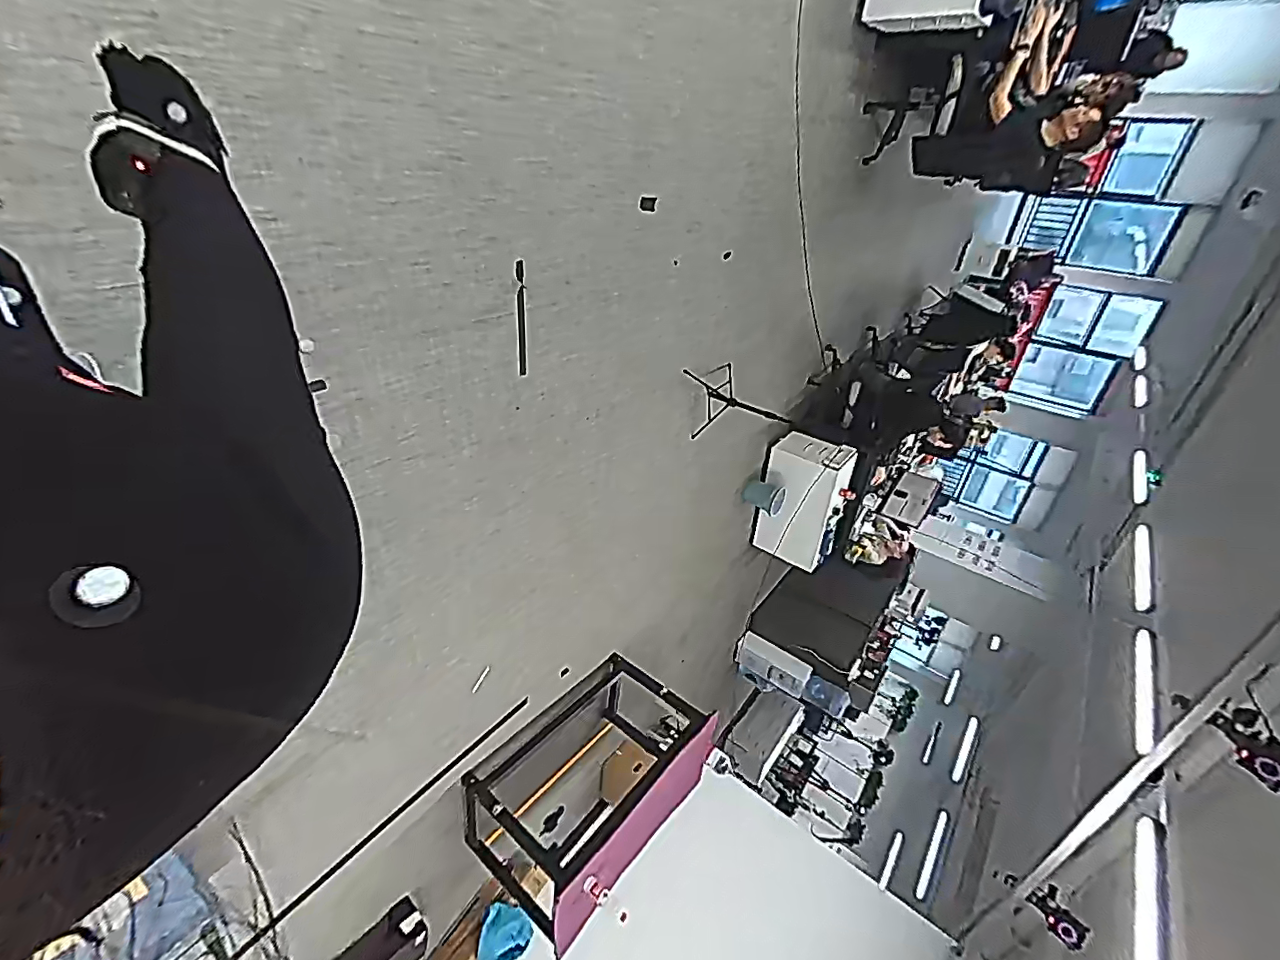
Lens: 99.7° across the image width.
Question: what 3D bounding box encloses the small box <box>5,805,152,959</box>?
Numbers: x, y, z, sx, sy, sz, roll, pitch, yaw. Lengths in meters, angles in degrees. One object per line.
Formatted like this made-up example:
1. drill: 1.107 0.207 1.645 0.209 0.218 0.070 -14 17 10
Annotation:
1. small box: -1.220 0.865 1.175 0.179 0.176 0.168 -28 134 -46
